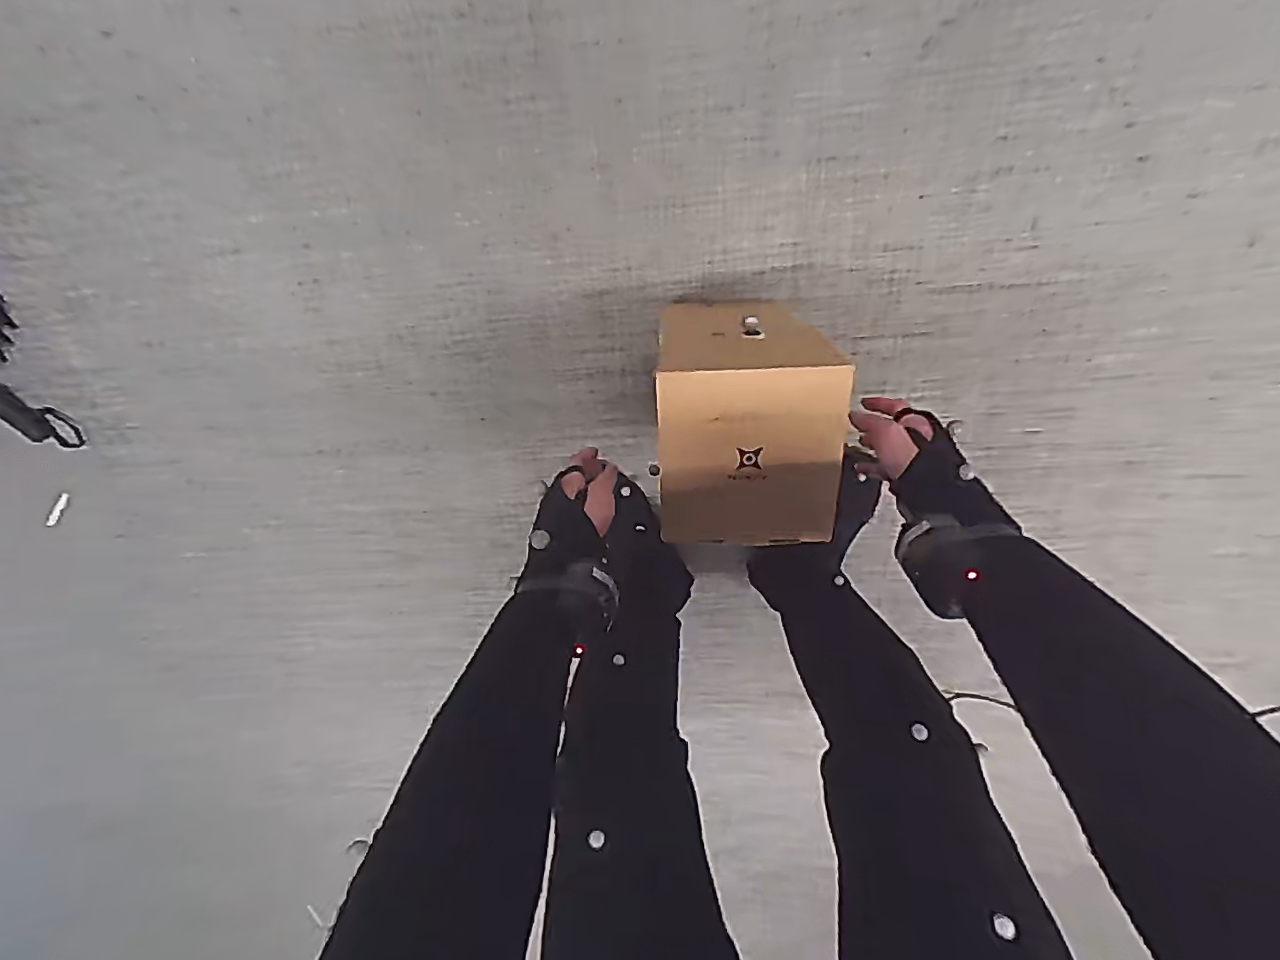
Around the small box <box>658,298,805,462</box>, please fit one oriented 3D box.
[{"bbox_3d":[0.110,-0.132,0.708,0.168,0.176,0.179,1,119,4],"label":"small box"}]

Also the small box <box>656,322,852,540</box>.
[{"bbox_3d":[0.104,-0.056,0.563,0.168,0.176,0.179,-2,117,3],"label":"small box"}]
